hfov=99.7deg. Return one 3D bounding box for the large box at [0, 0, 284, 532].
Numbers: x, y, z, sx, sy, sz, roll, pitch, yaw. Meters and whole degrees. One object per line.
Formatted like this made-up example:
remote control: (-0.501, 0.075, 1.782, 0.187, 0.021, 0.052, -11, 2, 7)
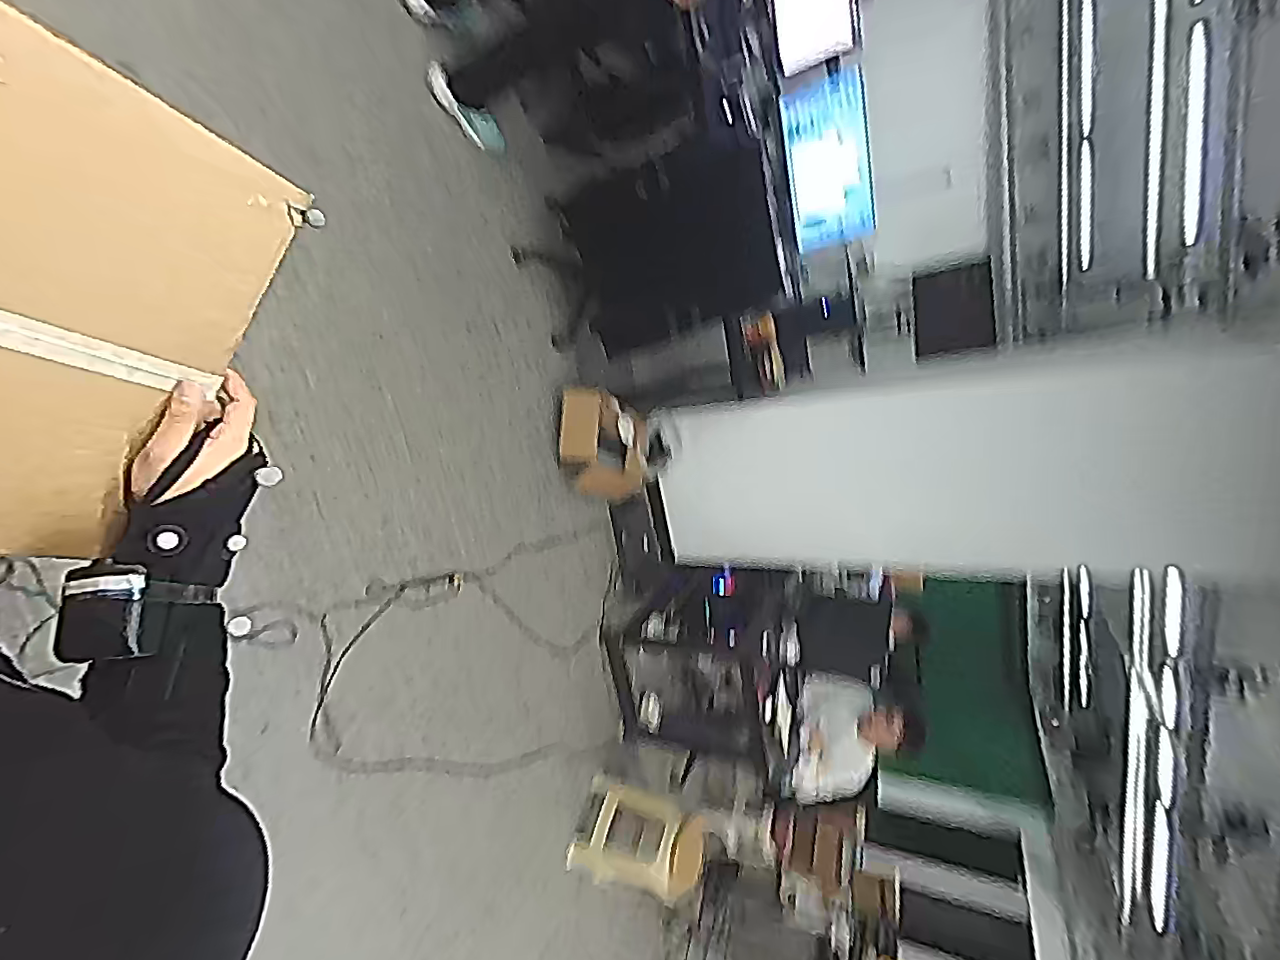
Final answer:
large box: (-0.533, -0.191, 0.315, 0.320, 0.320, 0.408, -58, 150, 9)
